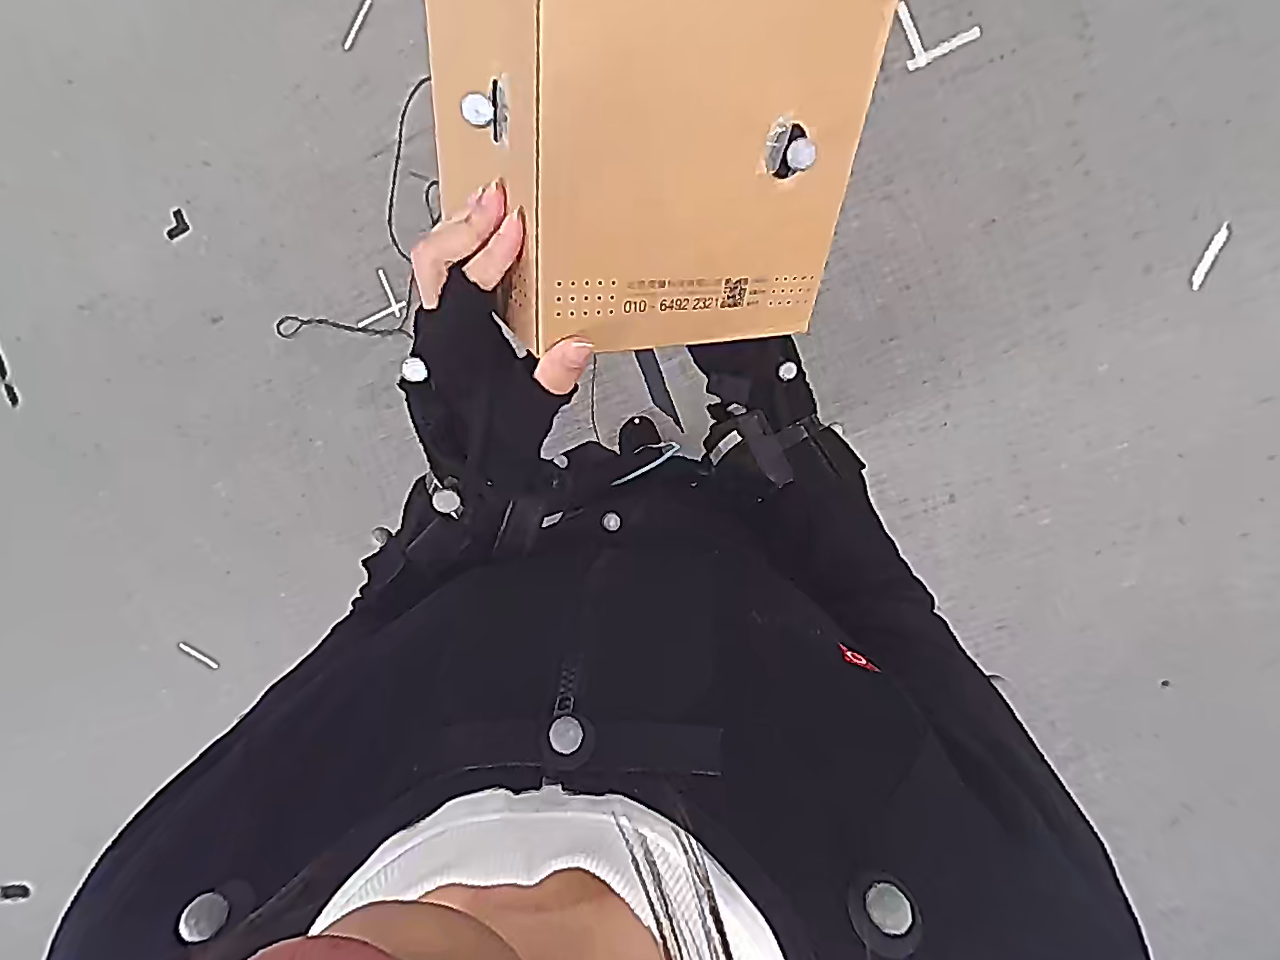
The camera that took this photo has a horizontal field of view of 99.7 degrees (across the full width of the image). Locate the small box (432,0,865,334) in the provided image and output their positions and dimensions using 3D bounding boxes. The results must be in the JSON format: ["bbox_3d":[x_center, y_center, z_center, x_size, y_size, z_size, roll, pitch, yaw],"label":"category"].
[{"bbox_3d":[-0.010,-0.188,0.310,0.168,0.179,0.176,-12,127,-27],"label":"small box"}]
